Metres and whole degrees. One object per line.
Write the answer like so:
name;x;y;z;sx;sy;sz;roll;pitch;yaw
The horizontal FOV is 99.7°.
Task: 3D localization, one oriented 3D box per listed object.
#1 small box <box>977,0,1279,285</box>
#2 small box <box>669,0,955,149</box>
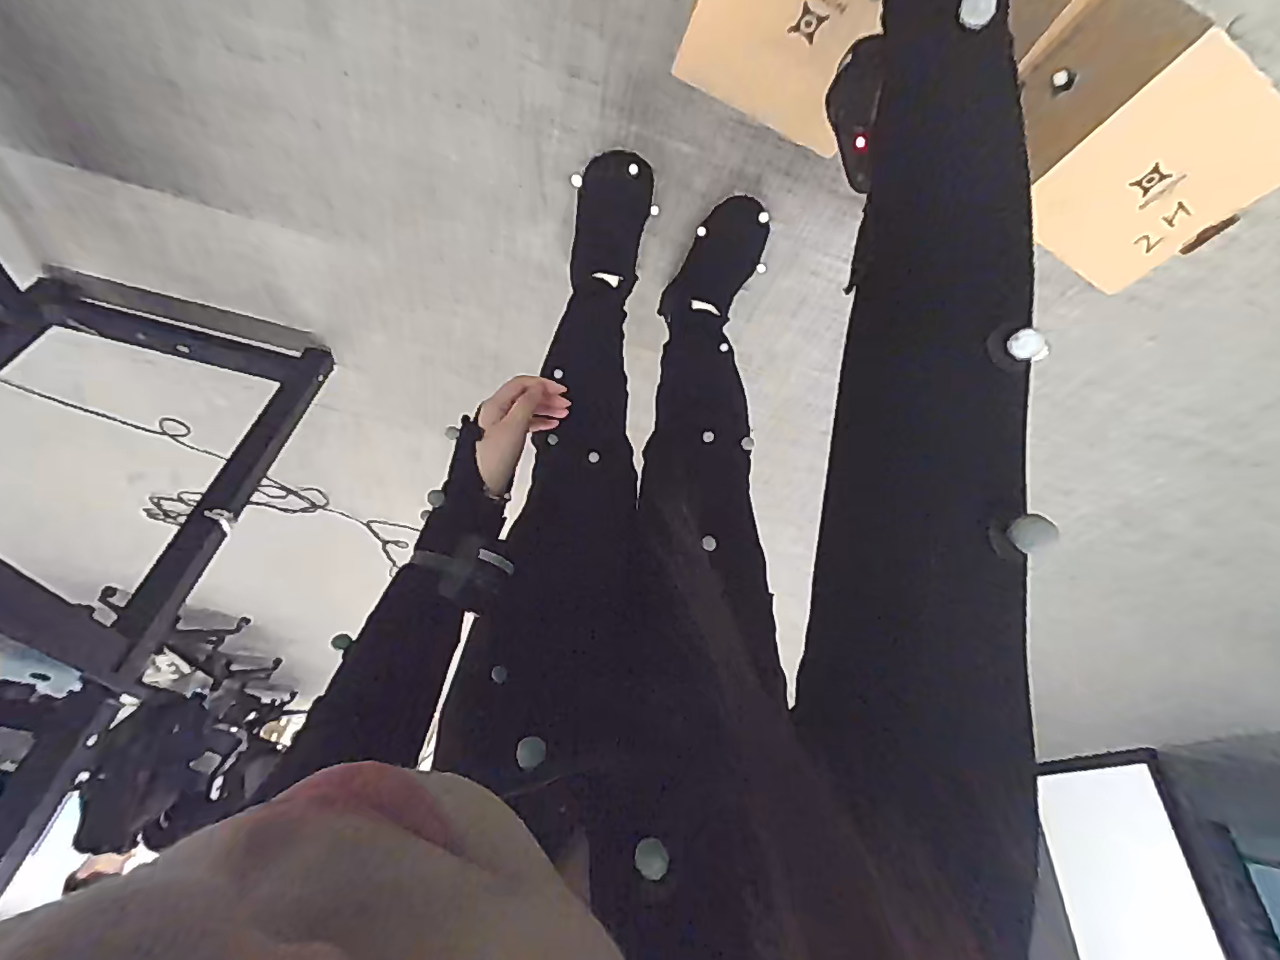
small box;0.458;-0.329;0.507;0.179;0.176;0.168;21;144;-19
small box;0.144;-0.415;0.412;0.168;0.176;0.179;19;161;-14
